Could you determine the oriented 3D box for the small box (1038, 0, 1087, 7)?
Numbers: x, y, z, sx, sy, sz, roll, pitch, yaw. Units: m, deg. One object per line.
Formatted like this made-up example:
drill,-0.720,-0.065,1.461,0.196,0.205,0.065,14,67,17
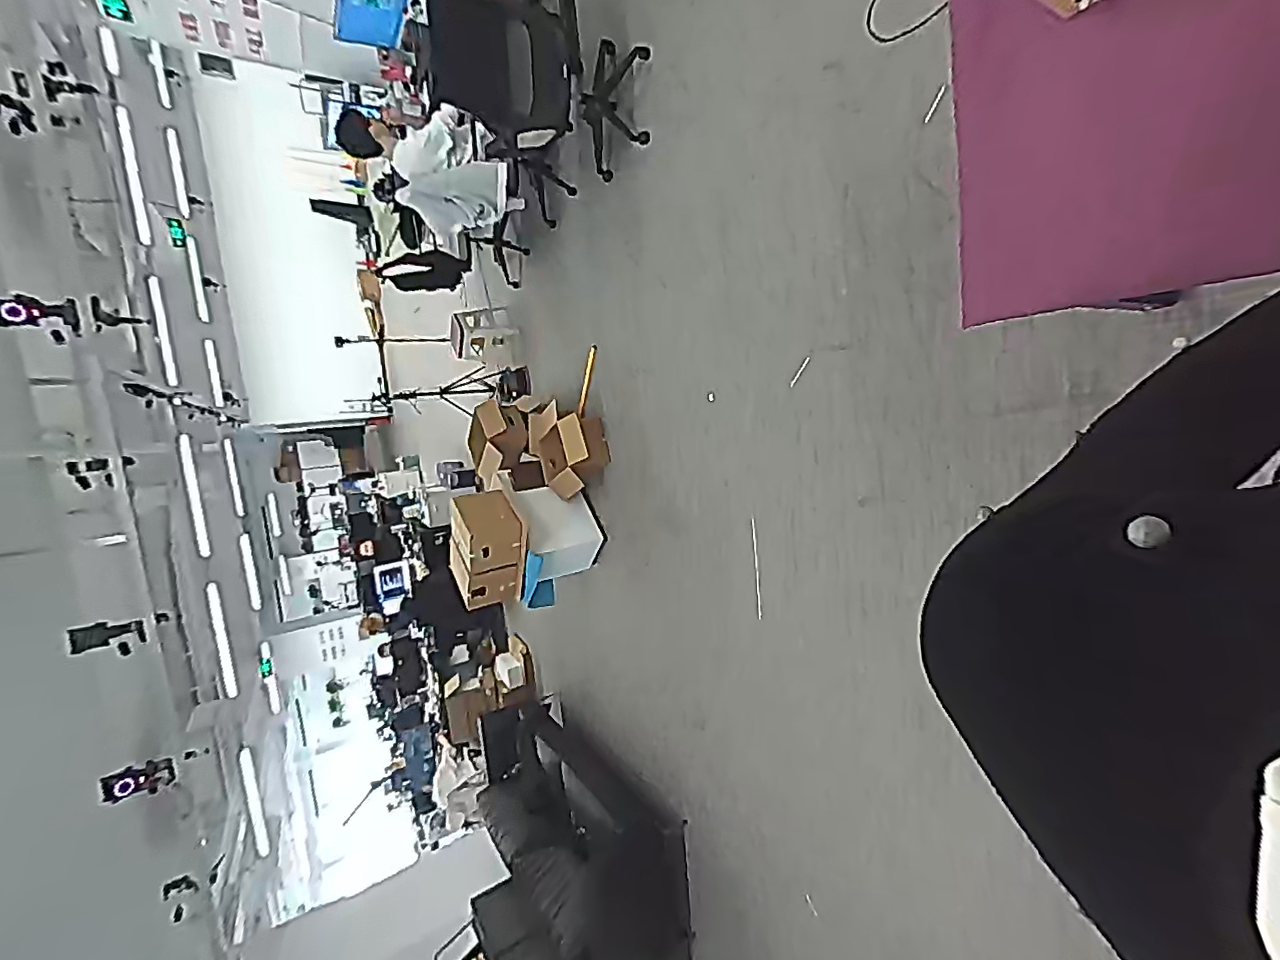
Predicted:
small box,0.534,-0.688,0.610,0.168,0.176,0.179,5,101,57
